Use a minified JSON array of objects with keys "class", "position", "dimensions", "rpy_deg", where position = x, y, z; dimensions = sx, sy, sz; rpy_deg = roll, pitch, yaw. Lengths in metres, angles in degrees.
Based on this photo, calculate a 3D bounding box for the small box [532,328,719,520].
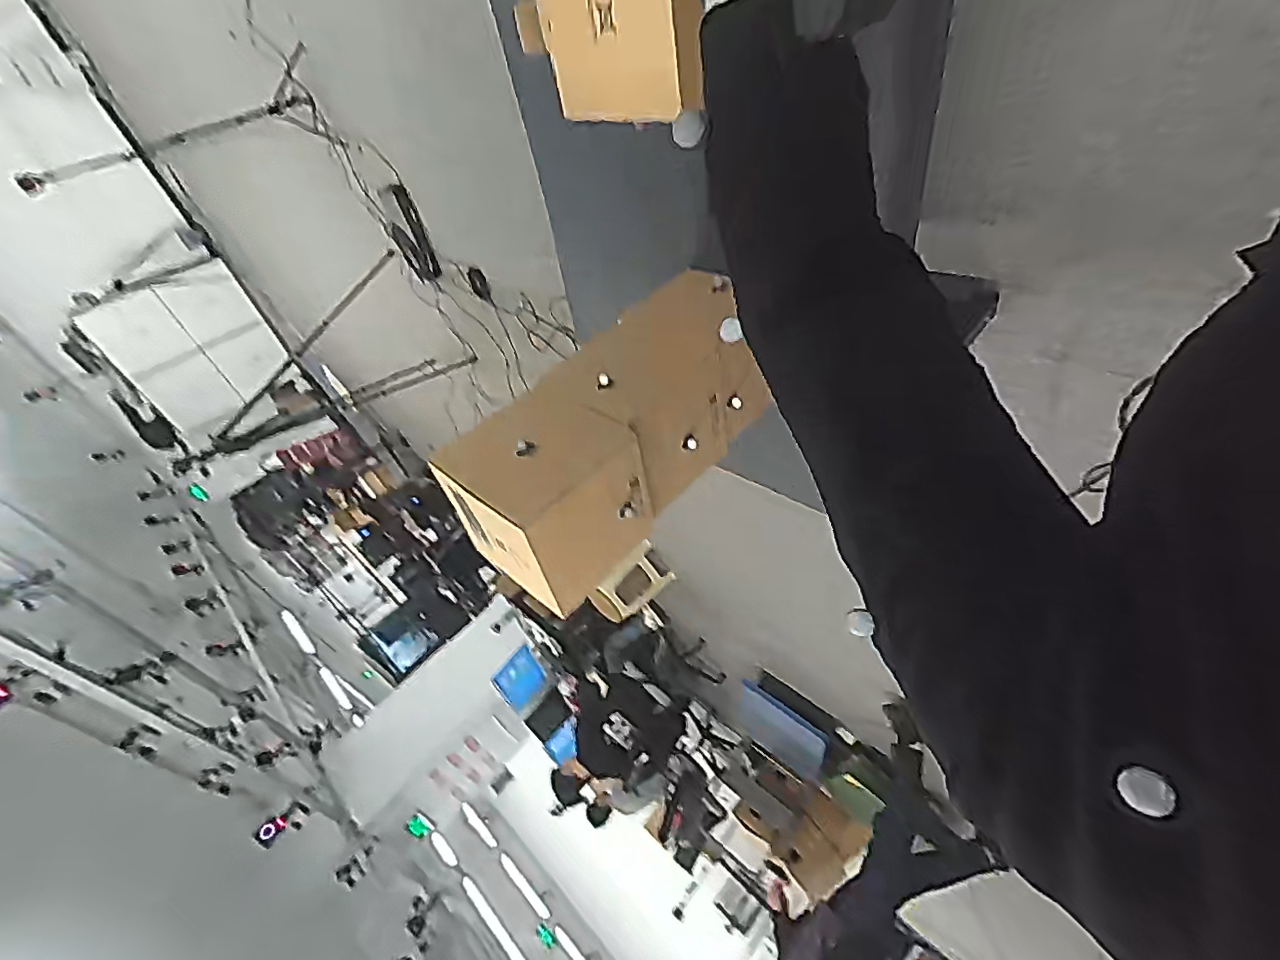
[{"class":"small box","position":[-0.007,-0.084,0.725],"dimensions":[0.179,0.176,0.168],"rpy_deg":[27,146,36]}]

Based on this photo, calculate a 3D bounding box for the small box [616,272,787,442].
[{"class":"small box","position":[0.096,-0.189,0.799],"dimensions":[0.179,0.176,0.168],"rpy_deg":[27,146,37]}]

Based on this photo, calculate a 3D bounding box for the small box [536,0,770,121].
[{"class":"small box","position":[0.017,-0.477,0.535],"dimensions":[0.179,0.176,0.168],"rpy_deg":[28,148,35]}]
